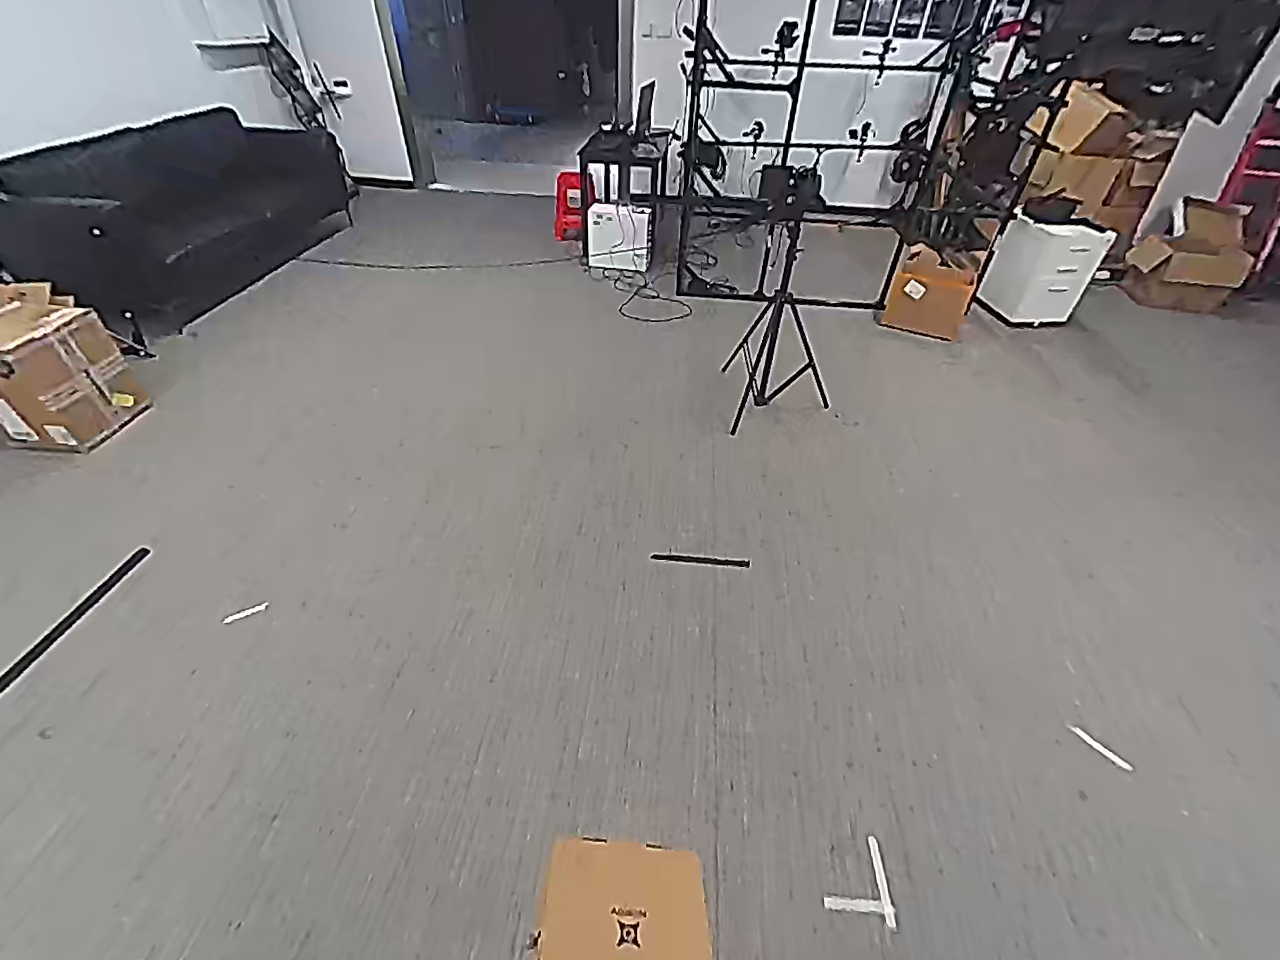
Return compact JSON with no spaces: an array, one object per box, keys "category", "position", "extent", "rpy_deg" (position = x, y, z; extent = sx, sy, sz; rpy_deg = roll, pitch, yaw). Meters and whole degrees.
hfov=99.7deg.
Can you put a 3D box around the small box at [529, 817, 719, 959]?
[{"category":"small box","position":[-0.026,0.488,0.549],"extent":[0.168,0.176,0.179],"rpy_deg":[9,20,-7]}]
